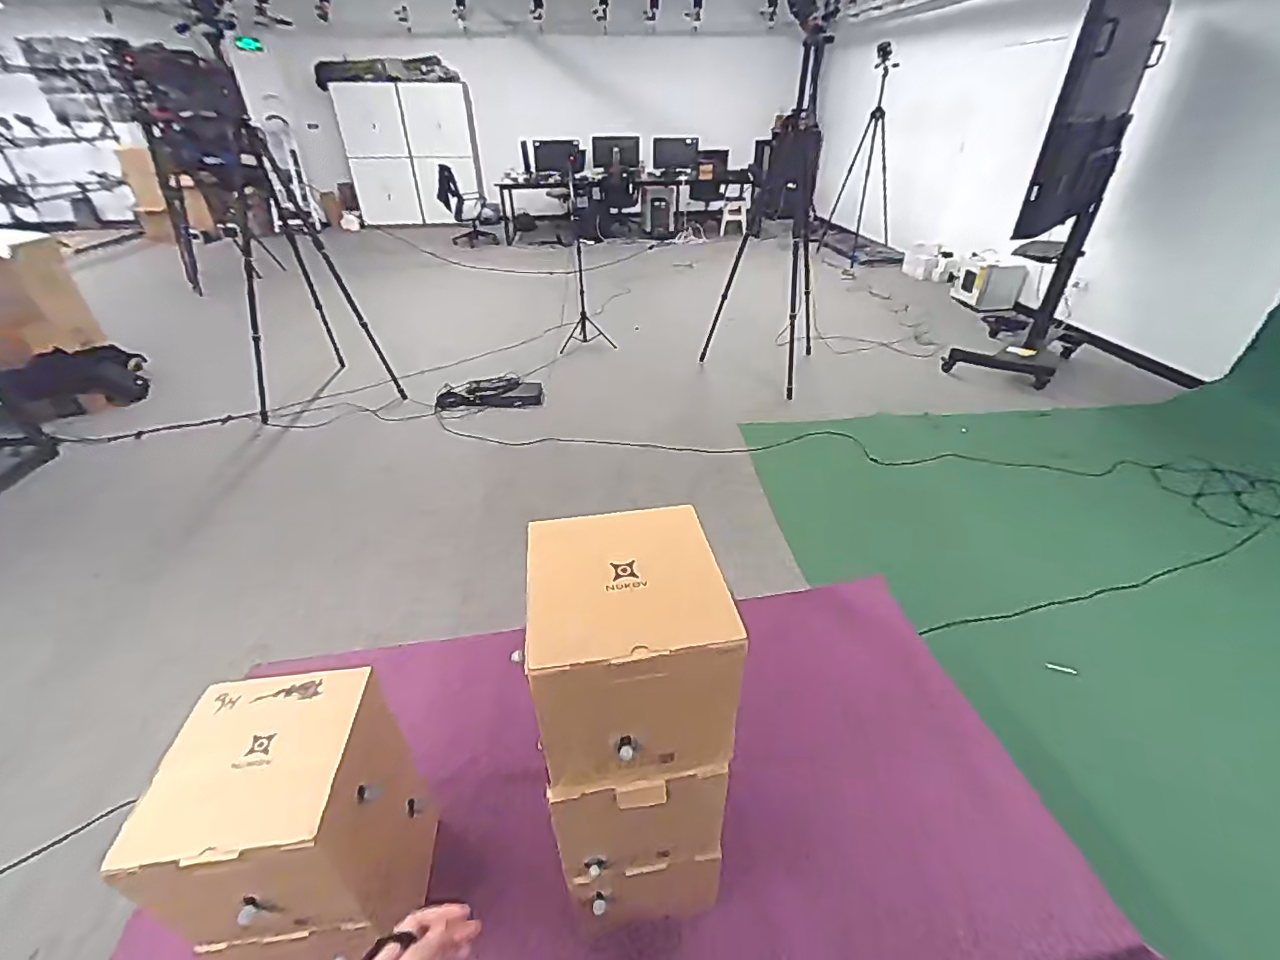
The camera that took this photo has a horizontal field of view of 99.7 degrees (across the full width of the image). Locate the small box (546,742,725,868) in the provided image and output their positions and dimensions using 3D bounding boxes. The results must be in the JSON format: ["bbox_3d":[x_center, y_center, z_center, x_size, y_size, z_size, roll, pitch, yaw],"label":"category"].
[{"bbox_3d":[-0.011,0.290,0.590,0.168,0.176,0.179,-6,33,-7],"label":"small box"}]

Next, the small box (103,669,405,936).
[{"bbox_3d":[-0.354,0.324,0.546,0.168,0.176,0.179,-4,34,-7],"label":"small box"}]

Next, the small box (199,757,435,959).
[{"bbox_3d":[-0.351,0.463,0.634,0.168,0.176,0.179,-5,34,-6],"label":"small box"}]

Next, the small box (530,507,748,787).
[{"bbox_3d":[-0.012,0.149,0.508,0.168,0.176,0.179,-6,34,-8],"label":"small box"}]
